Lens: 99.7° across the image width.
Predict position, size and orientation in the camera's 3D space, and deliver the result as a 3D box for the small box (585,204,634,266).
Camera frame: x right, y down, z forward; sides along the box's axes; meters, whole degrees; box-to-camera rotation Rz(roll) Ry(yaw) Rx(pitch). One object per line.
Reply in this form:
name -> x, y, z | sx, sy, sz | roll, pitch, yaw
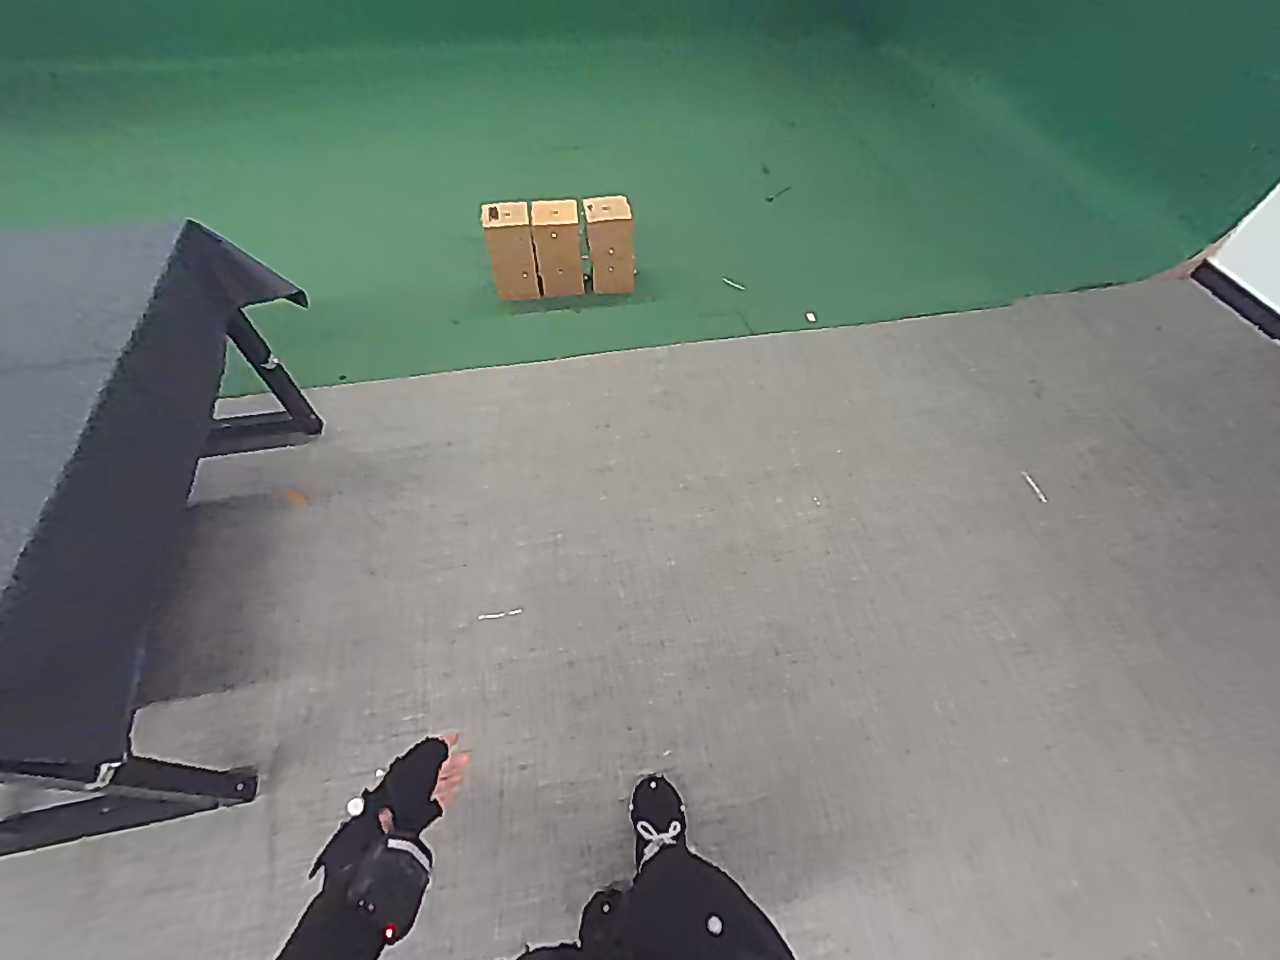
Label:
small box -> -0.127, -0.985, 2.182 | 0.179, 0.176, 0.168 | -7, 55, -8
